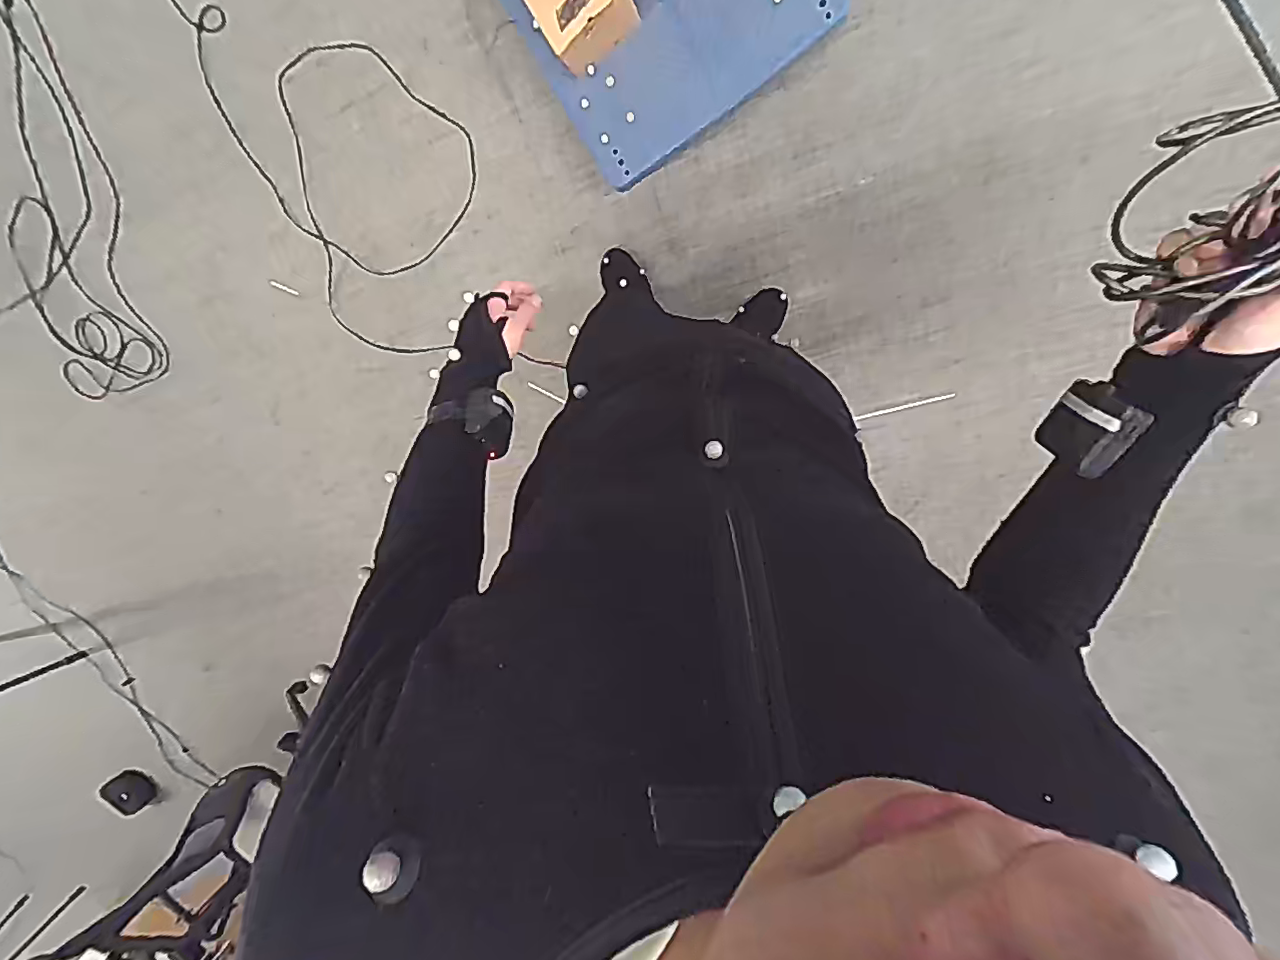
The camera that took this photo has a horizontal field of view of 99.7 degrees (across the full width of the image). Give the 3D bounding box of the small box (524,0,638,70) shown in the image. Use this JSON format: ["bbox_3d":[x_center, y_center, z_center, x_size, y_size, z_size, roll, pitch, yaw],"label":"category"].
[{"bbox_3d":[-0.122,-0.931,1.033,0.168,0.176,0.179,-29,104,20],"label":"small box"}]
